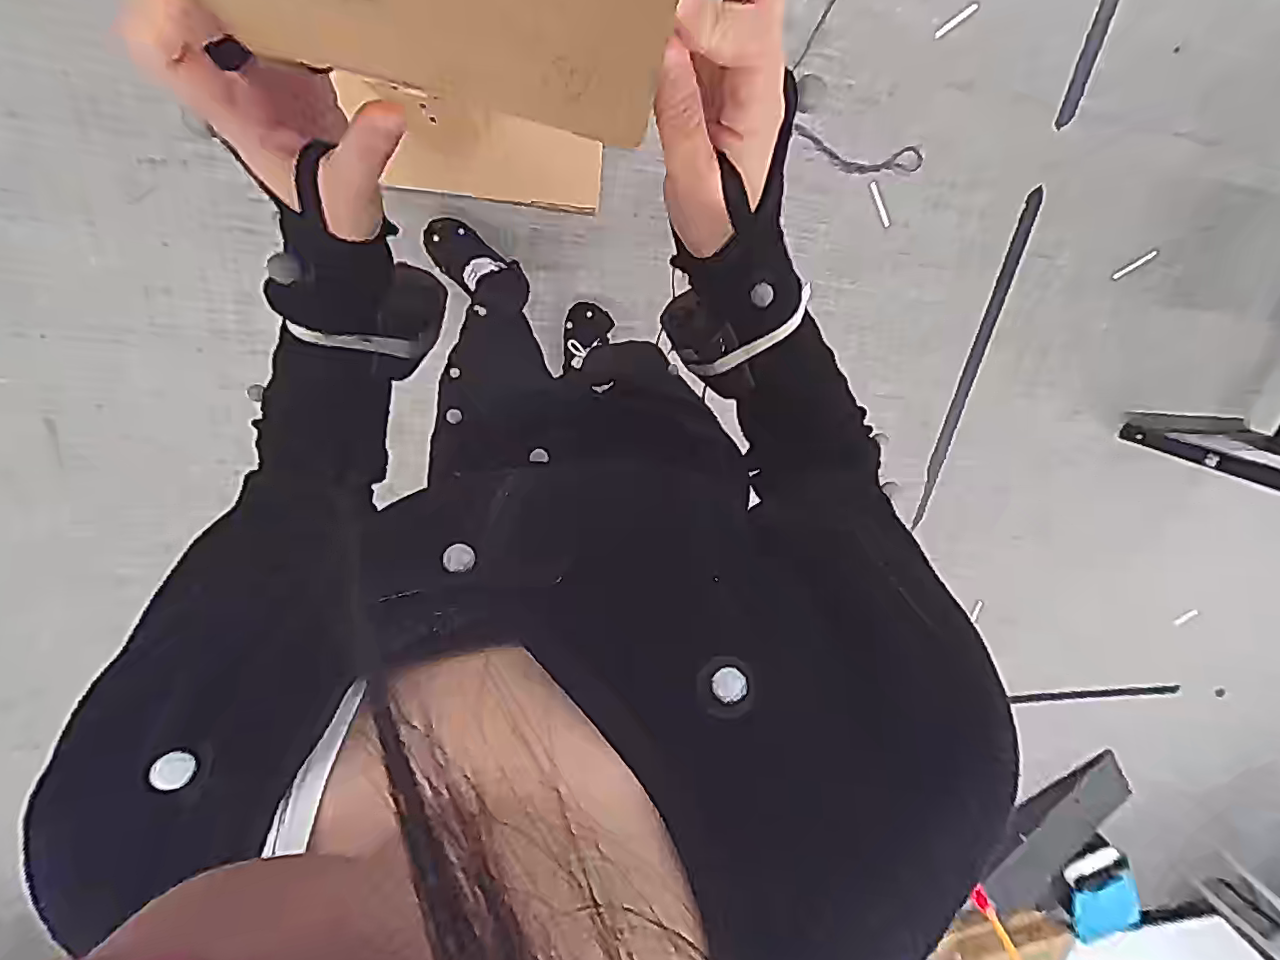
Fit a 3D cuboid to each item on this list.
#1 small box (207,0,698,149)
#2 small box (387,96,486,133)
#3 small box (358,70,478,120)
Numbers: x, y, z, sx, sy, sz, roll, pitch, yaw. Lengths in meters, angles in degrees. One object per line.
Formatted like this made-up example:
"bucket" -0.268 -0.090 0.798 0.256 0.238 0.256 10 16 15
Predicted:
"small box" -0.048 -0.225 0.131 0.168 0.179 0.176 9 96 -9
"small box" -0.382 -0.792 1.035 0.168 0.176 0.179 4 114 -13
"small box" -0.354 -0.723 0.888 0.168 0.176 0.179 5 114 -14
